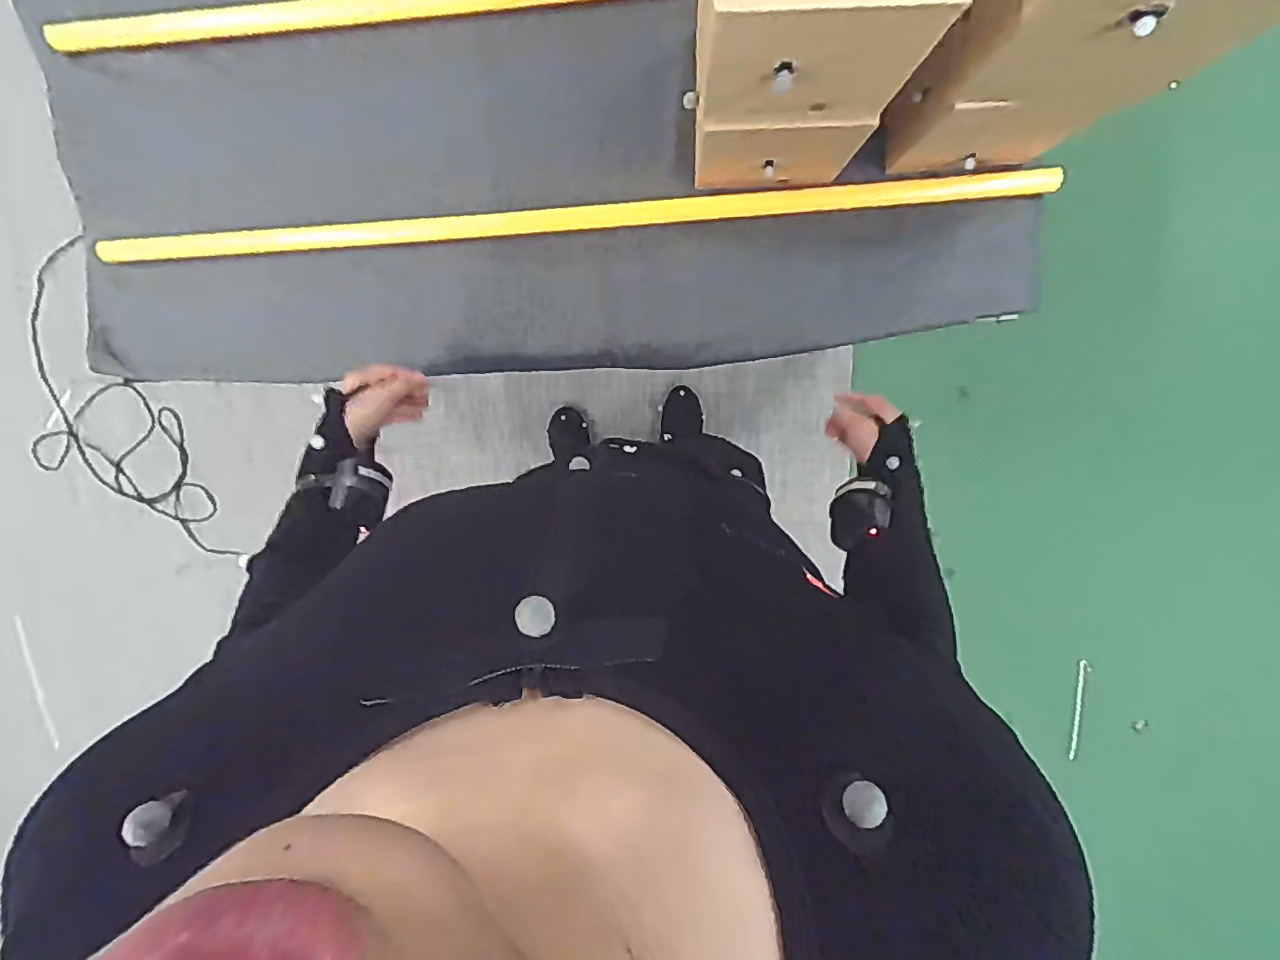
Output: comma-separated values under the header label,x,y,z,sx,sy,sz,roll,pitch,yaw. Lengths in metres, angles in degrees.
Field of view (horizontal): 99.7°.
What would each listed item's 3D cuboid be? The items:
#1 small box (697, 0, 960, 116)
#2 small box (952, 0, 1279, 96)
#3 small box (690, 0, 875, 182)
label,x,y,z,sx,sy,sz,roll,pitch,yaw
small box,0.130,-0.401,0.407,0.168,0.176,0.179,0,101,4
small box,0.359,-0.408,0.391,0.179,0.176,0.168,2,102,2
small box,0.140,-0.429,0.568,0.168,0.176,0.179,-1,101,3
